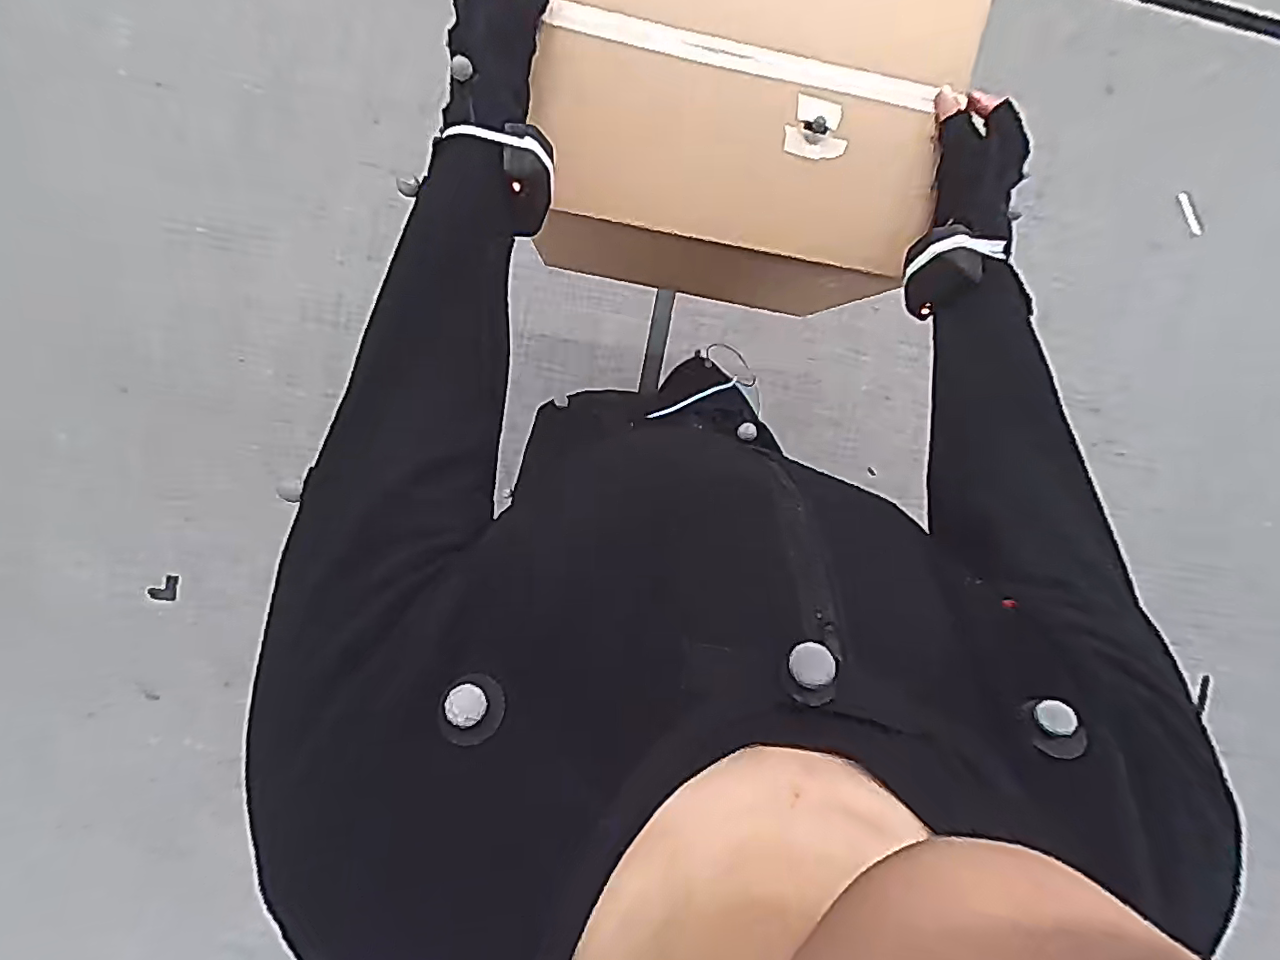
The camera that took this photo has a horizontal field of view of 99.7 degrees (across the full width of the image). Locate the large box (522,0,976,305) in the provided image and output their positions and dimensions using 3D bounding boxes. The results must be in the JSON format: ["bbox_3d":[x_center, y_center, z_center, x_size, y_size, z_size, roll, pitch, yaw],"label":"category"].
[{"bbox_3d":[0.092,-0.416,0.646,0.408,0.320,0.320,9,101,-7],"label":"large box"}]
